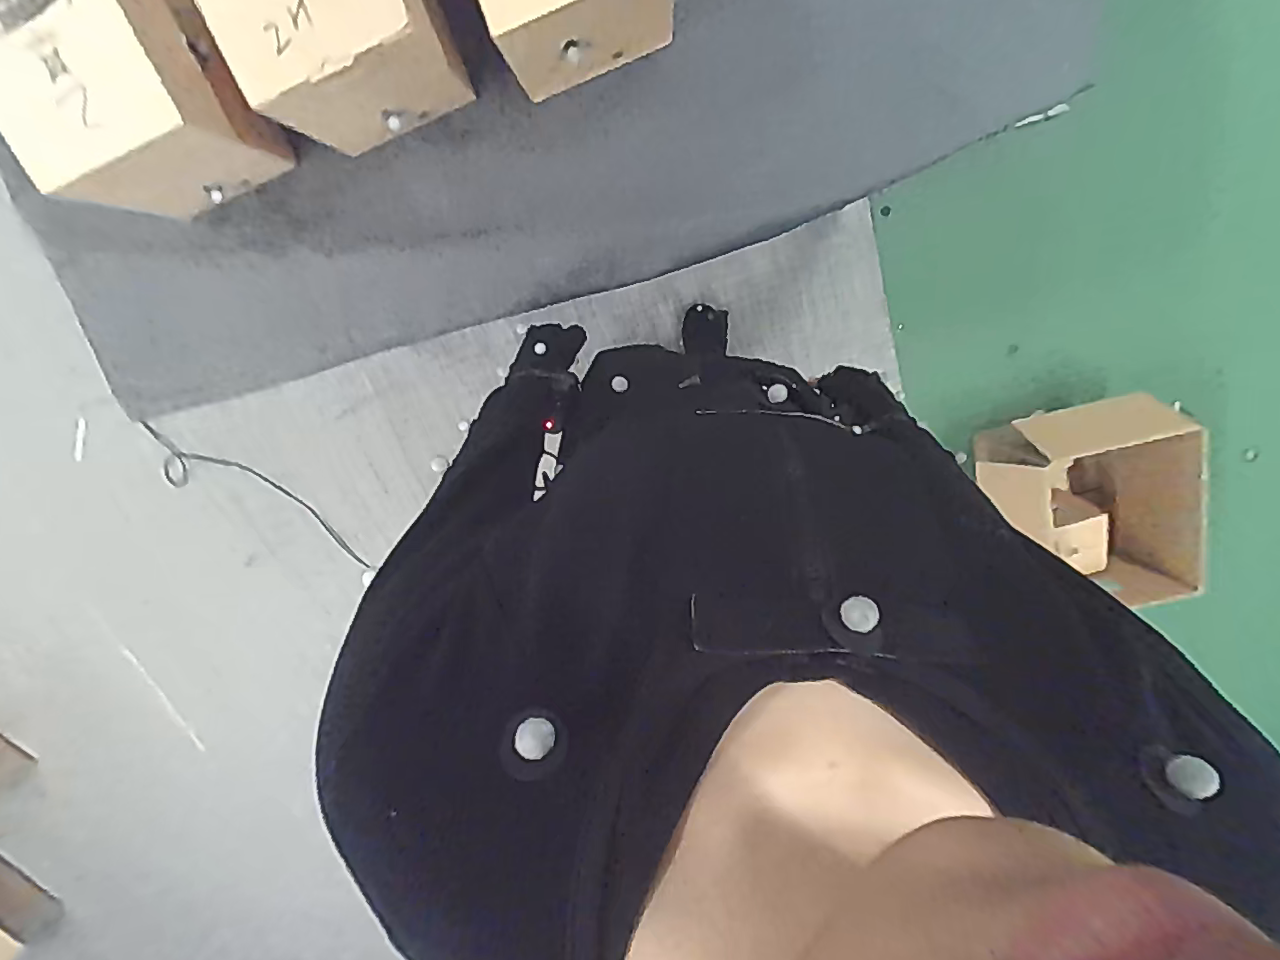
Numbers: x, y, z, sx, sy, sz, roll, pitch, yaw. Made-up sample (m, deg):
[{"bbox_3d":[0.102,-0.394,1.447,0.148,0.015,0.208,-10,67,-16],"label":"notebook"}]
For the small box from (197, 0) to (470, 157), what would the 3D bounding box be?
[{"bbox_3d":[-0.294,-0.452,0.522,0.168,0.176,0.179,-19,106,8],"label":"small box"}]
